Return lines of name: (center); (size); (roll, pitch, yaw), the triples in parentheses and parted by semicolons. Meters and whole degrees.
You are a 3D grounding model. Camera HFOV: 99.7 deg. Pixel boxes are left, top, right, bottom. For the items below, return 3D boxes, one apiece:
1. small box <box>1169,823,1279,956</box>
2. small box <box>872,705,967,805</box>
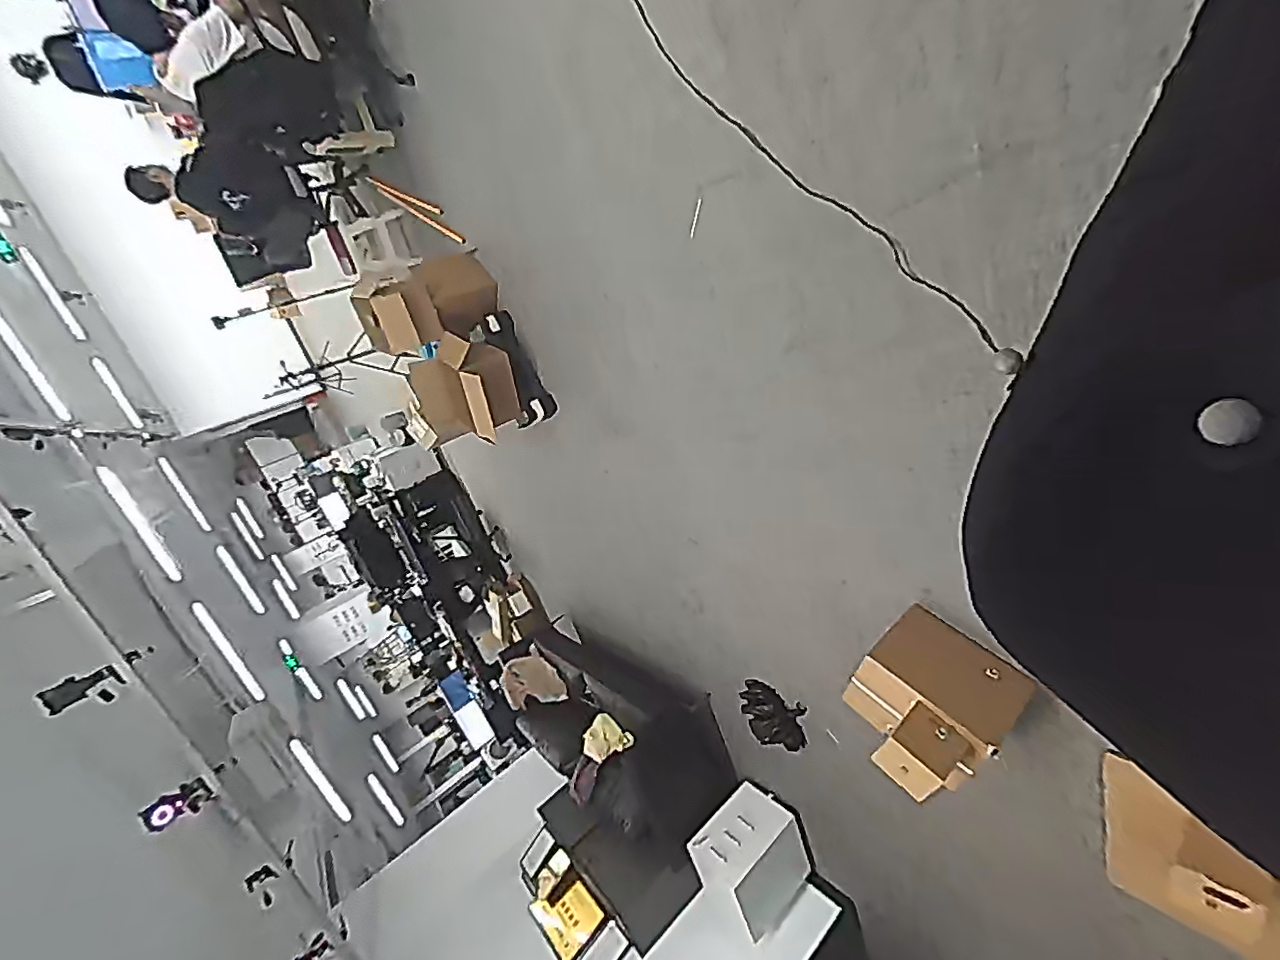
small box: (1.488, 1.028, 1.373); (0.168, 0.176, 0.179); (16, 130, 51)
small box: (0.830, 0.811, 1.602); (0.168, 0.176, 0.179); (38, 142, 32)
